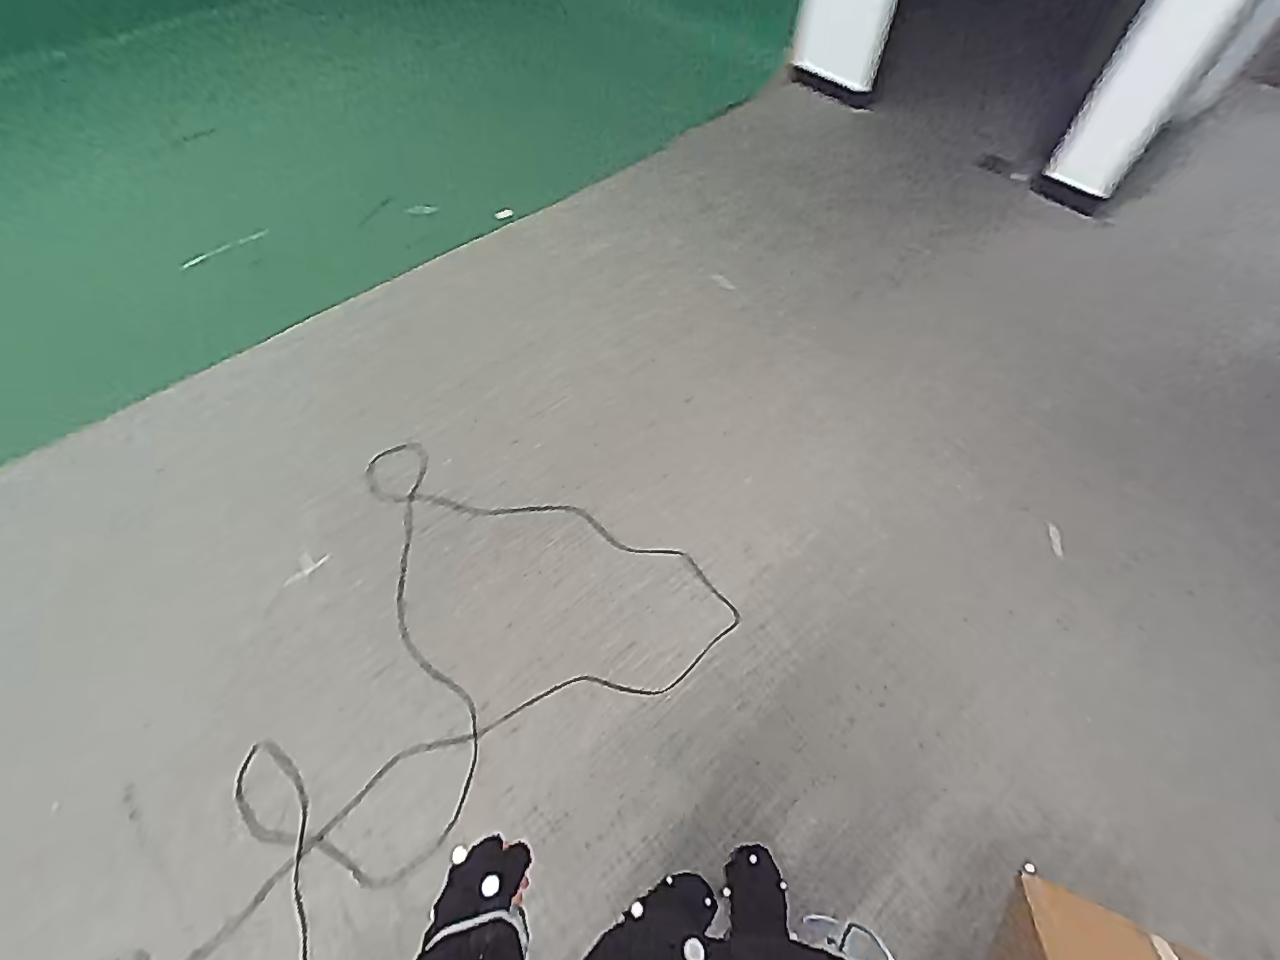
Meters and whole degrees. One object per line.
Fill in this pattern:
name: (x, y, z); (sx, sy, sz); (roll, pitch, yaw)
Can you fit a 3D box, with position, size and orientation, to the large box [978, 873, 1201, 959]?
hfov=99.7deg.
large box: (0.566, 0.771, 0.582); (0.320, 0.408, 0.320); (19, 99, 22)
